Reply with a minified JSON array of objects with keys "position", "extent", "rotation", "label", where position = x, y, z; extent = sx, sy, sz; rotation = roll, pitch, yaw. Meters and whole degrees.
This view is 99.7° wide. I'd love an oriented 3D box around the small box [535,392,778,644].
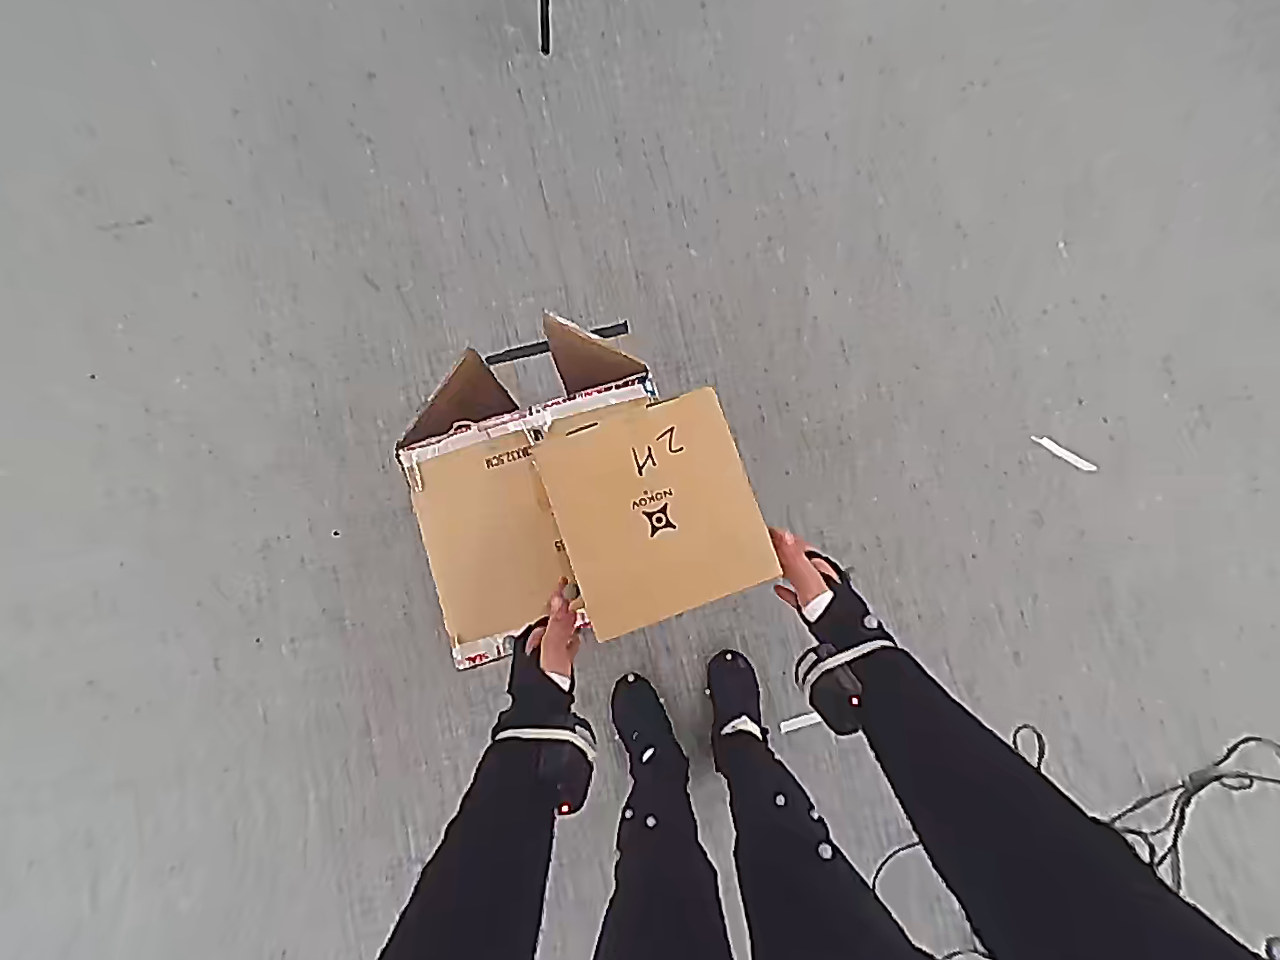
[{"position":[0.010,0.037,0.534],"extent":[0.168,0.176,0.179],"rotation":[-19,85,-5],"label":"small box"}]
